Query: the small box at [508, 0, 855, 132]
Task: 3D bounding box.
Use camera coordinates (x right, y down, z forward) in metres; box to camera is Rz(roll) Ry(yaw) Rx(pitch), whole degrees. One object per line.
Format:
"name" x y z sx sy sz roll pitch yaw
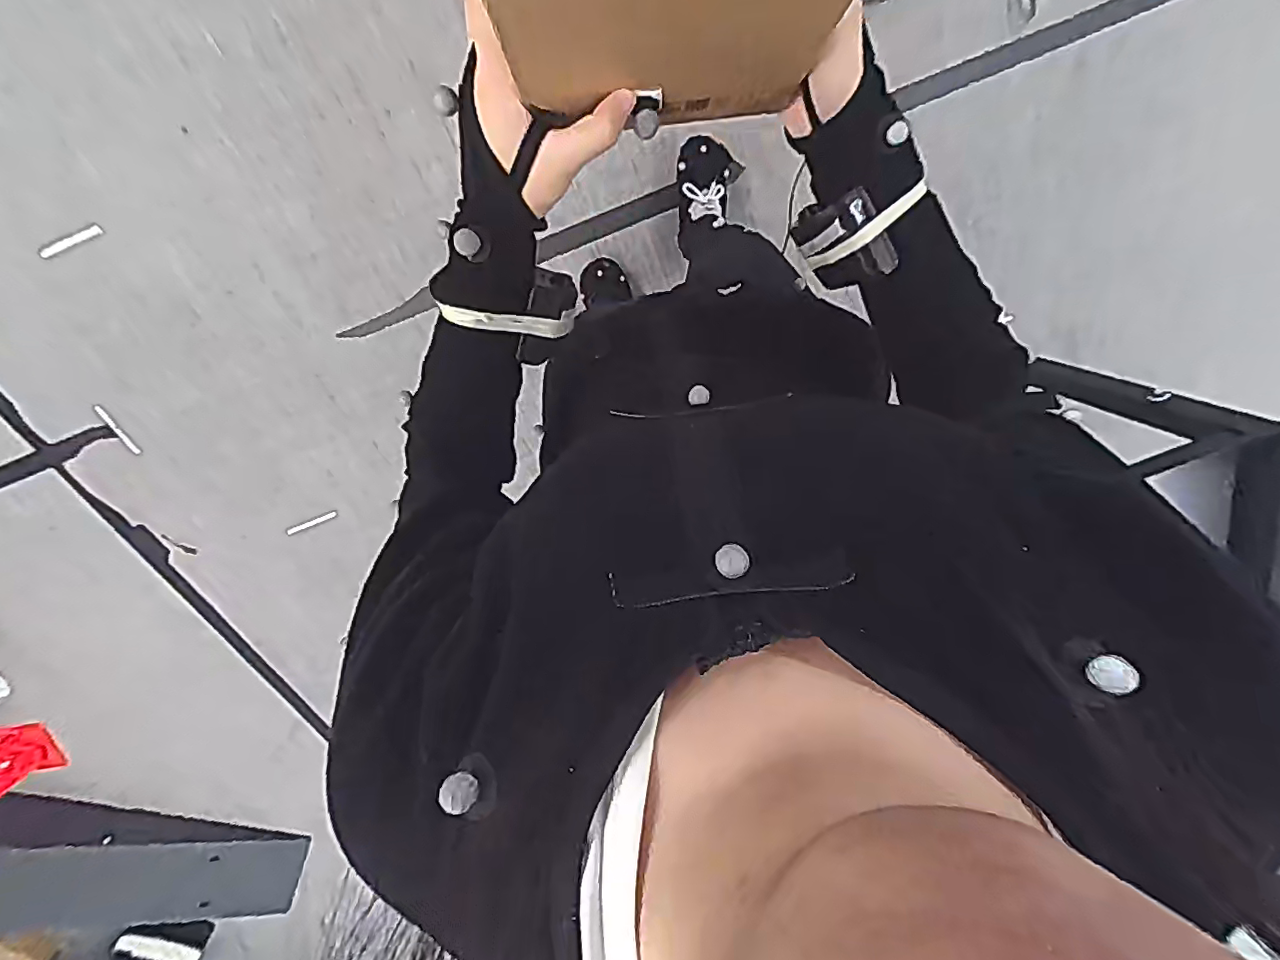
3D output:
"small box" 0.010 -0.300 0.253 0.168 0.176 0.179 -8 103 1
